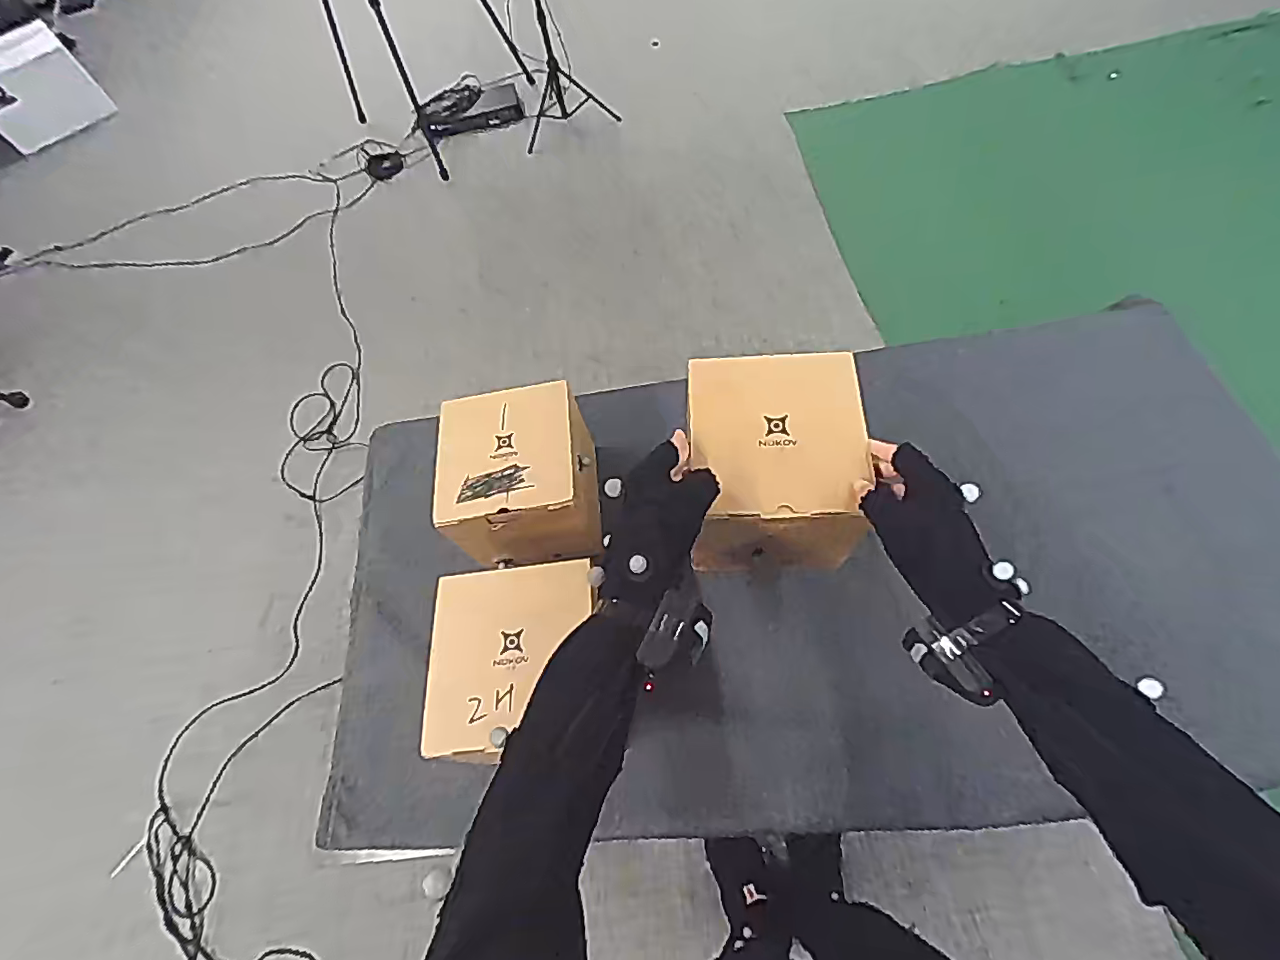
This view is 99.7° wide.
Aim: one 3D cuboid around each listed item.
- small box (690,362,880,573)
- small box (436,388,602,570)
[{"bbox_3d":[0.138,-0.006,0.587,0.168,0.176,0.179,-2,65,5],"label":"small box"},{"bbox_3d":[-0.148,0.010,0.711,0.168,0.176,0.179,-9,61,3],"label":"small box"}]
